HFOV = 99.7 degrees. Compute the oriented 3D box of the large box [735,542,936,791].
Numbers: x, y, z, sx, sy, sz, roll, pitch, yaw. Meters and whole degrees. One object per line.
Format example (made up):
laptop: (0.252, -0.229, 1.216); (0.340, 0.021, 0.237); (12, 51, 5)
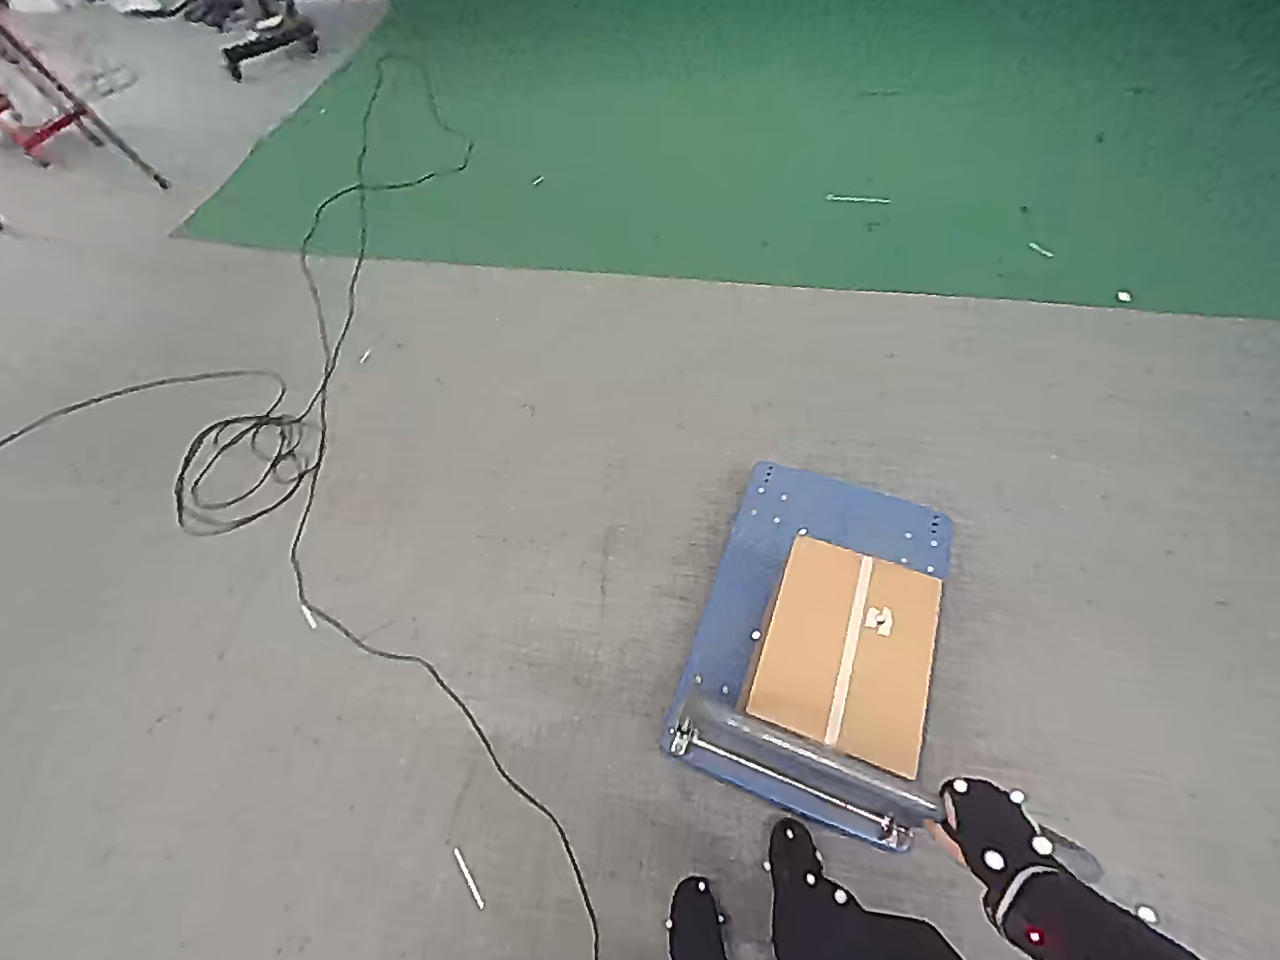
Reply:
large box: (0.422, 0.419, 1.207); (0.320, 0.320, 0.408); (18, 61, 13)
